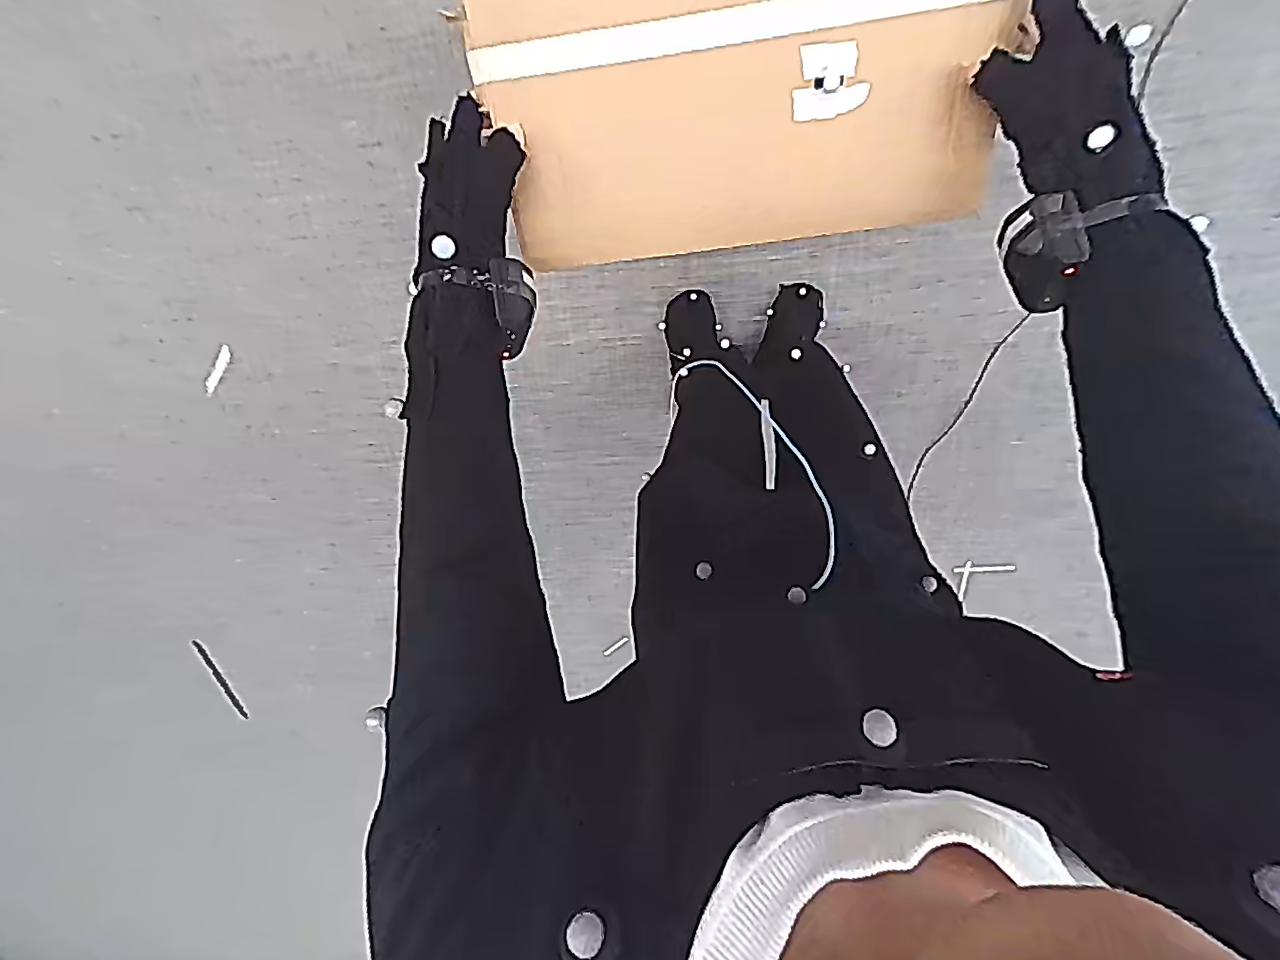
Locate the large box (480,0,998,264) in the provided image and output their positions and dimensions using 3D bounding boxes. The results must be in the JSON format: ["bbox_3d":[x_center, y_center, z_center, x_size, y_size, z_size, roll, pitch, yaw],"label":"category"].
[{"bbox_3d":[0.077,-0.438,0.550,0.408,0.320,0.320,-6,123,4],"label":"large box"}]
